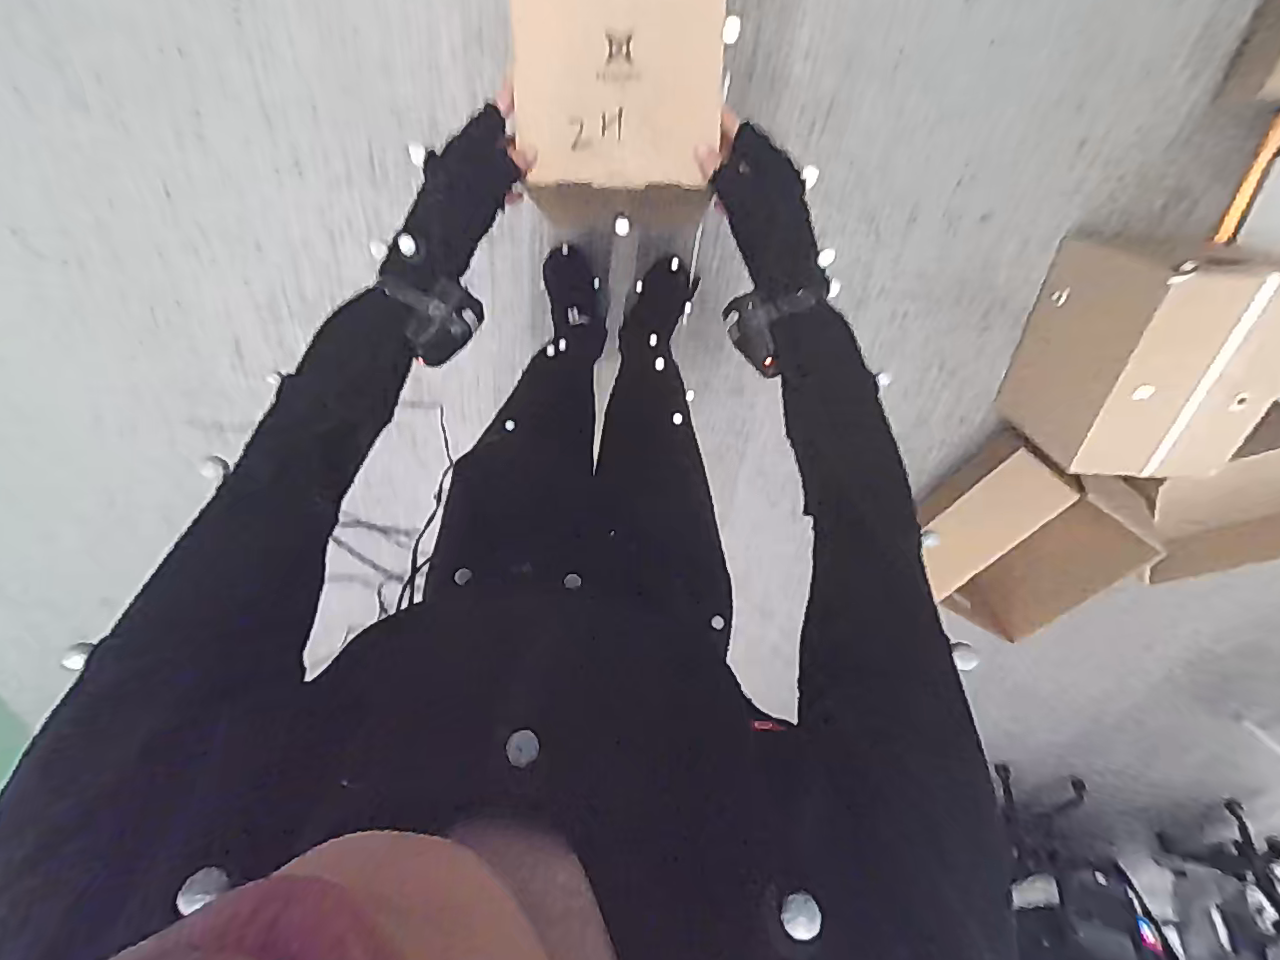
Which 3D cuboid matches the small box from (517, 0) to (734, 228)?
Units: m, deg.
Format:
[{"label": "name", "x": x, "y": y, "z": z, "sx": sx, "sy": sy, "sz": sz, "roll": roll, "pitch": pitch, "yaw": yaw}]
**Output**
[{"label": "small box", "x": -0.013, "y": -0.344, "z": 0.490, "sx": 0.168, "sy": 0.176, "sz": 0.179, "roll": 1, "pitch": 104, "yaw": 0}]
